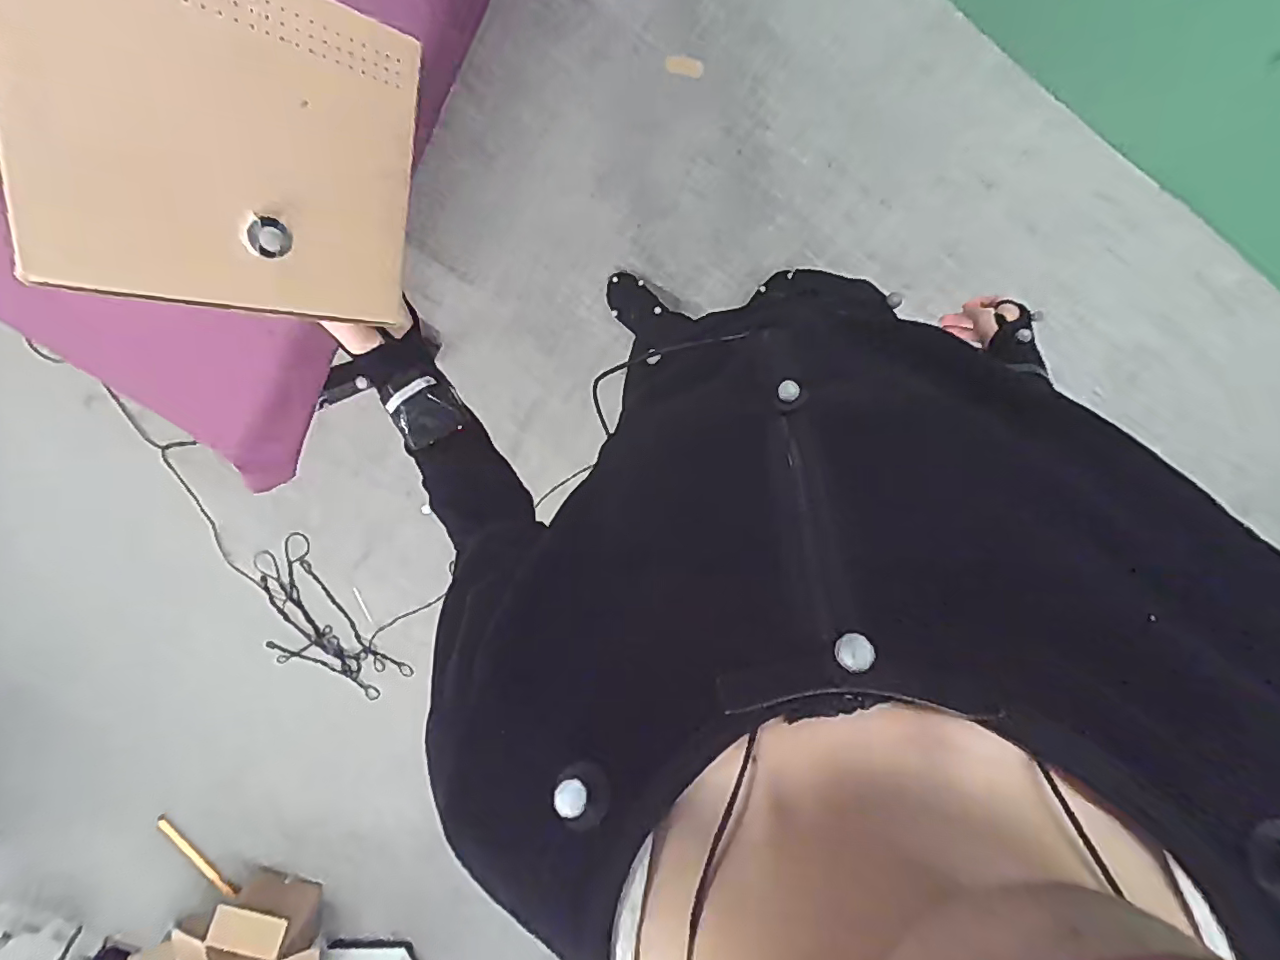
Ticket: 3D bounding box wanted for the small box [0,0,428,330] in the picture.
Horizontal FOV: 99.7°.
[{"bbox_3d":[-0.247,-0.203,0.324,0.168,0.179,0.176,32,116,37],"label":"small box"}]
